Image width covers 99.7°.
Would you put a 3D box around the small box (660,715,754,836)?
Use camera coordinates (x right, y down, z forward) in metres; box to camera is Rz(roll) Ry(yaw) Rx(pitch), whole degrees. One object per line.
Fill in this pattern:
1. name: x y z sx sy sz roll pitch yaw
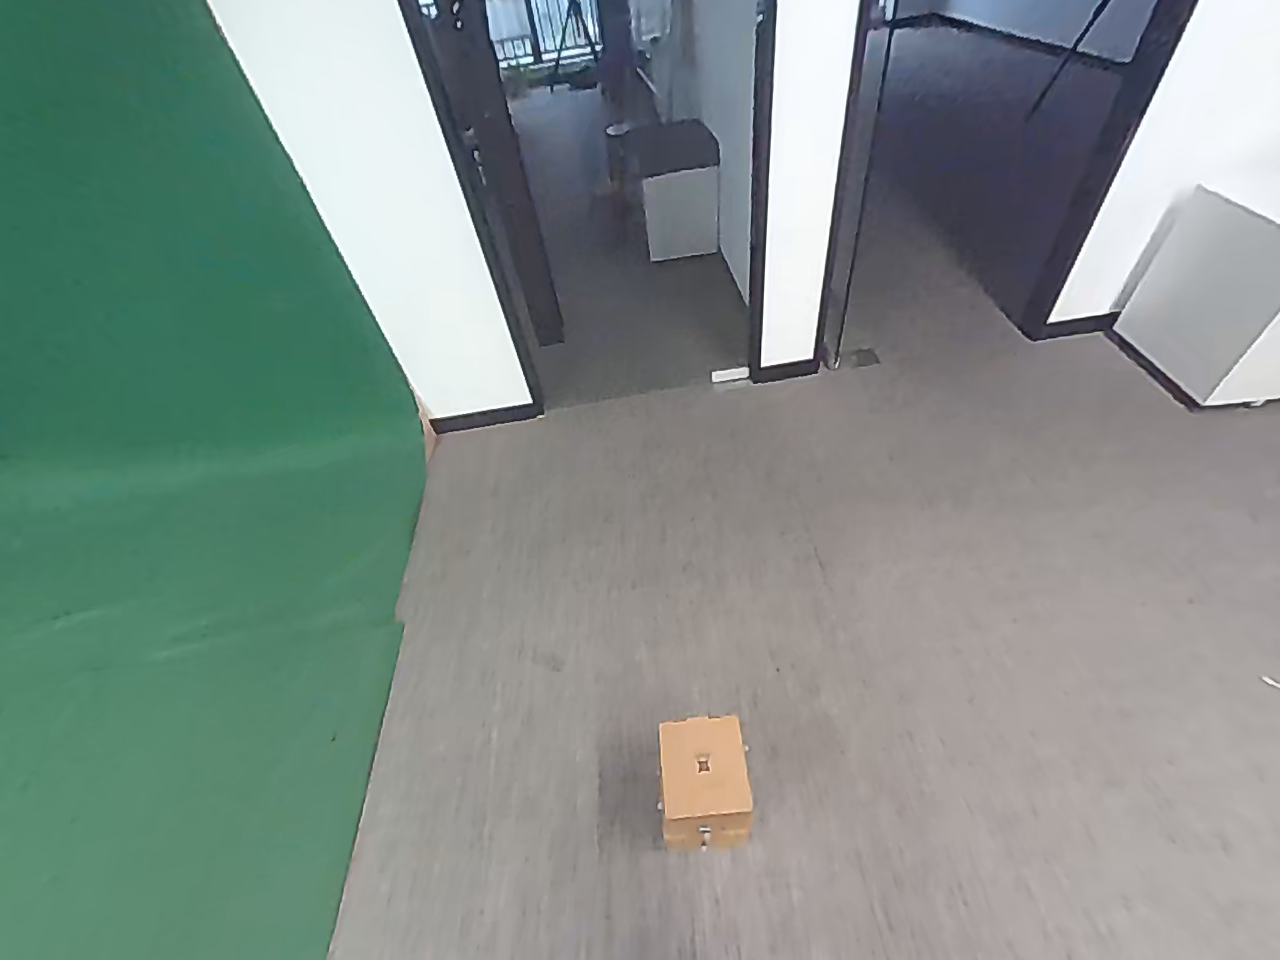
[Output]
1. small box: 0.135 0.611 1.114 0.168 0.176 0.179 -8 46 4

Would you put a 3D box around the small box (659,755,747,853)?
1. small box: 0.140 0.729 1.224 0.179 0.176 0.168 -7 46 4
